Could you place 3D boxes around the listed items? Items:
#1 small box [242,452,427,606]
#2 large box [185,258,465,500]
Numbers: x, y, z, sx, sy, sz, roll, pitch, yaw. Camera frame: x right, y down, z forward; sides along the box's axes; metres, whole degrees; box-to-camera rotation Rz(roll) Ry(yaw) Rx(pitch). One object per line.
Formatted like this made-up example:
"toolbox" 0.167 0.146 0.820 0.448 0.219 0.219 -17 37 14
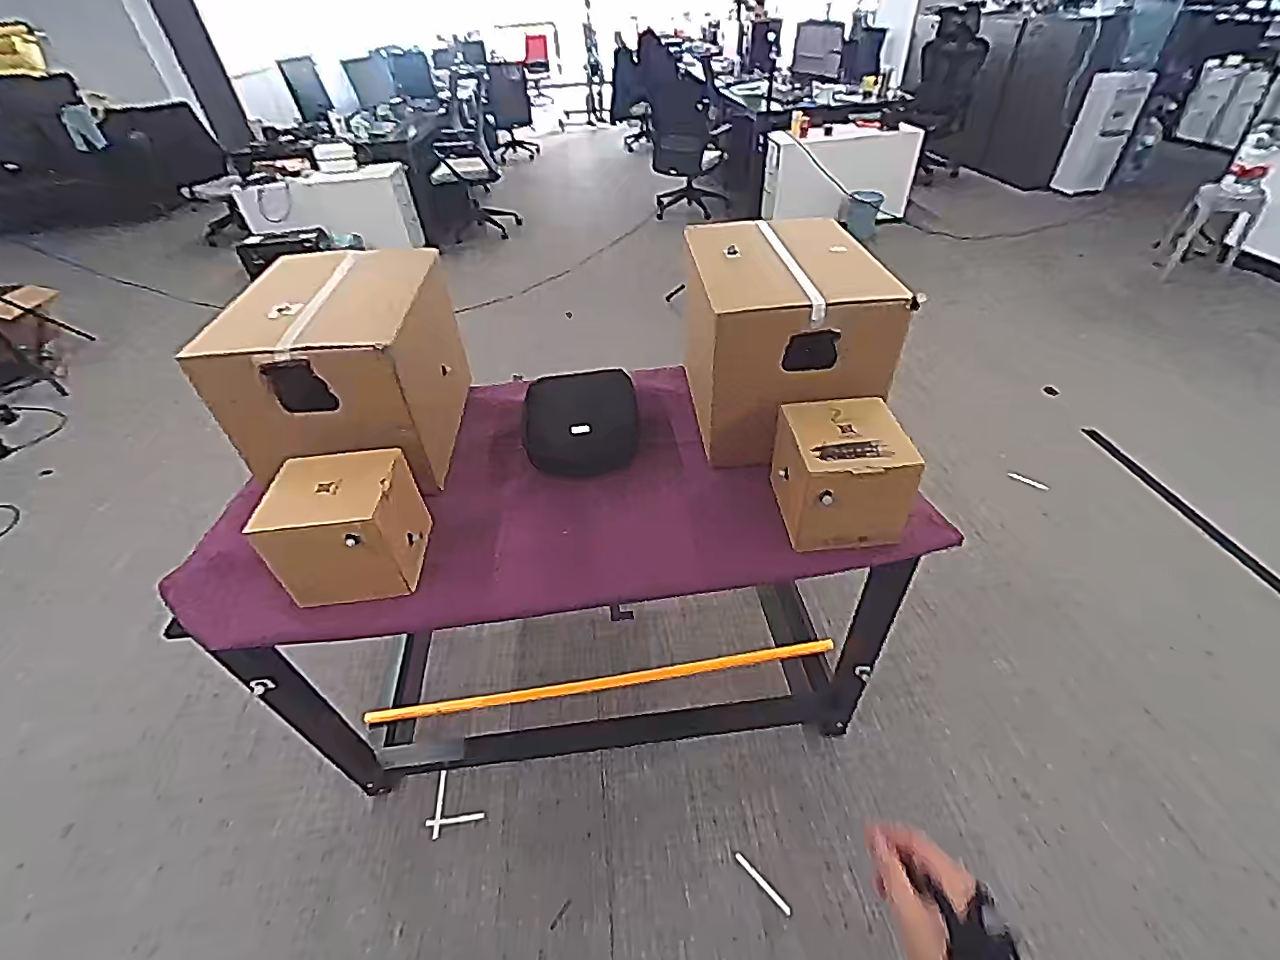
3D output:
"small box" -0.458 0.079 0.845 0.179 0.176 0.168 -7 41 -4
"large box" -0.547 -0.196 1.053 0.320 0.320 0.408 -5 44 -3
